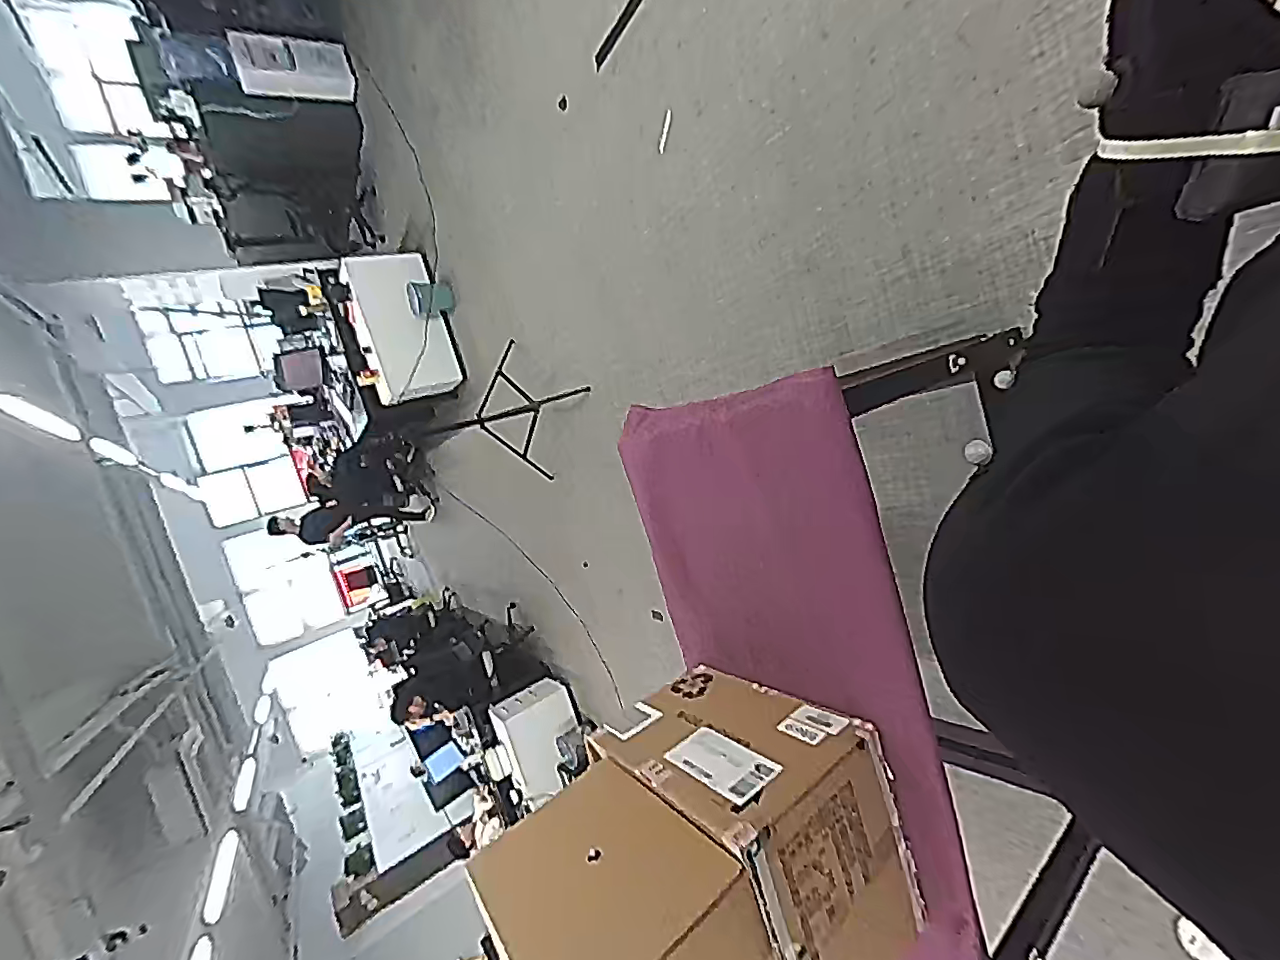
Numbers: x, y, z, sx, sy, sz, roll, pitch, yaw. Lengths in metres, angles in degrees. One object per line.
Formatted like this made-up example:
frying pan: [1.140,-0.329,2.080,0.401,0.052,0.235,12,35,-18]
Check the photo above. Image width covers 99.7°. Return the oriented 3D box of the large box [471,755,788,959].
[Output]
large box: [-0.023,0.723,0.865,0.408,0.320,0.320,-7,105,58]
